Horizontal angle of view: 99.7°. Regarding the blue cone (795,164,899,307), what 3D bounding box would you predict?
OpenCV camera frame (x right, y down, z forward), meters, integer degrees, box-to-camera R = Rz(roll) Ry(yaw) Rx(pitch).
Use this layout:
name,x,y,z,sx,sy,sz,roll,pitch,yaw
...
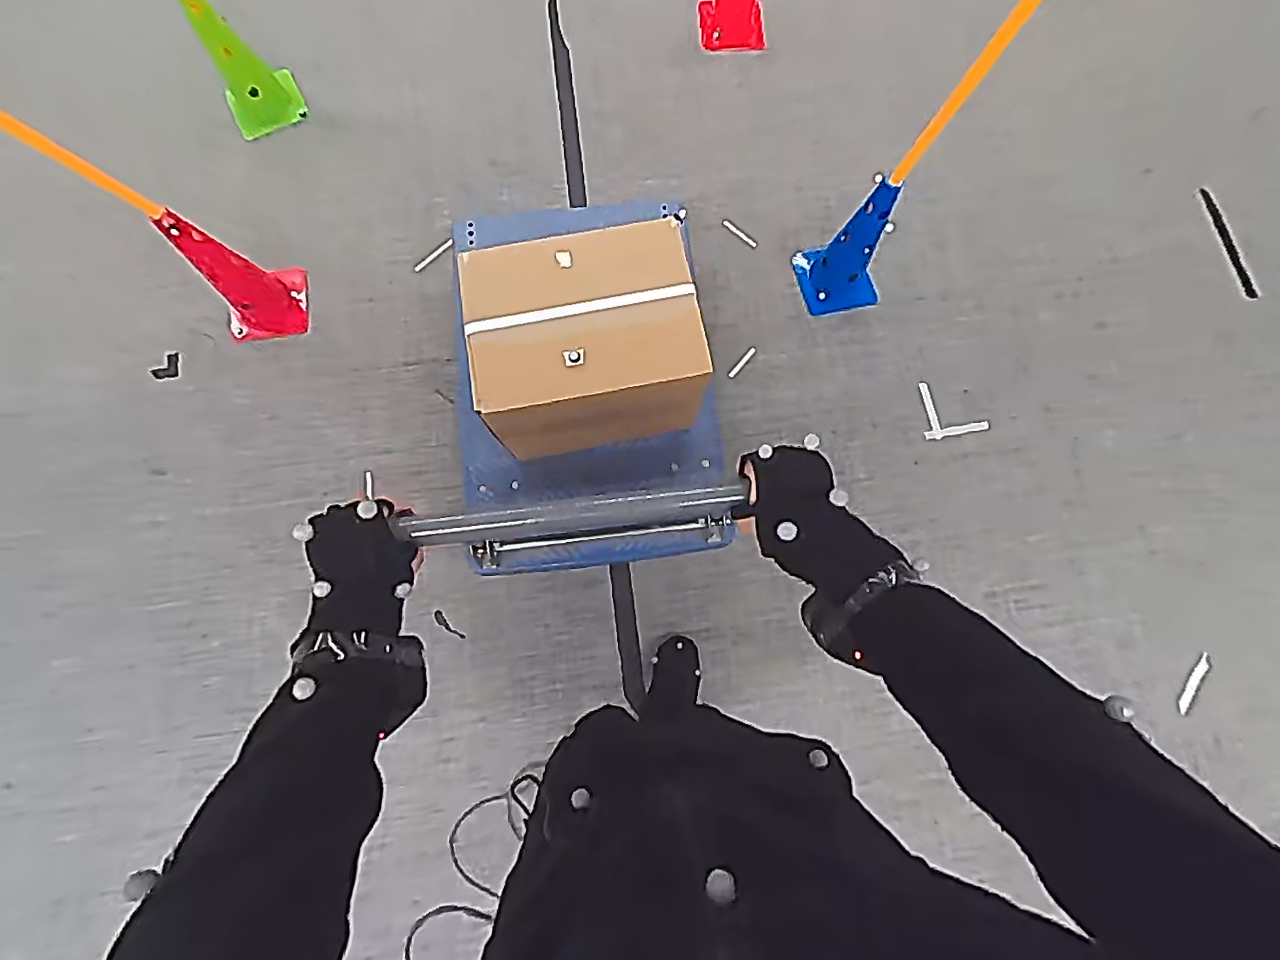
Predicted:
name,x,y,z,sx,sy,sz,roll,pitch,yaw
blue cone,0.541,-0.612,1.340,0.193,0.380,0.192,-11,76,-4

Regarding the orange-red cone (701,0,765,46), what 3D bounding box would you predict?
name,x,y,z,sx,sy,sz,roll,pitch,yaw
orange-red cone,0.293,-1.470,1.517,0.199,0.360,0.198,-1,78,-2
